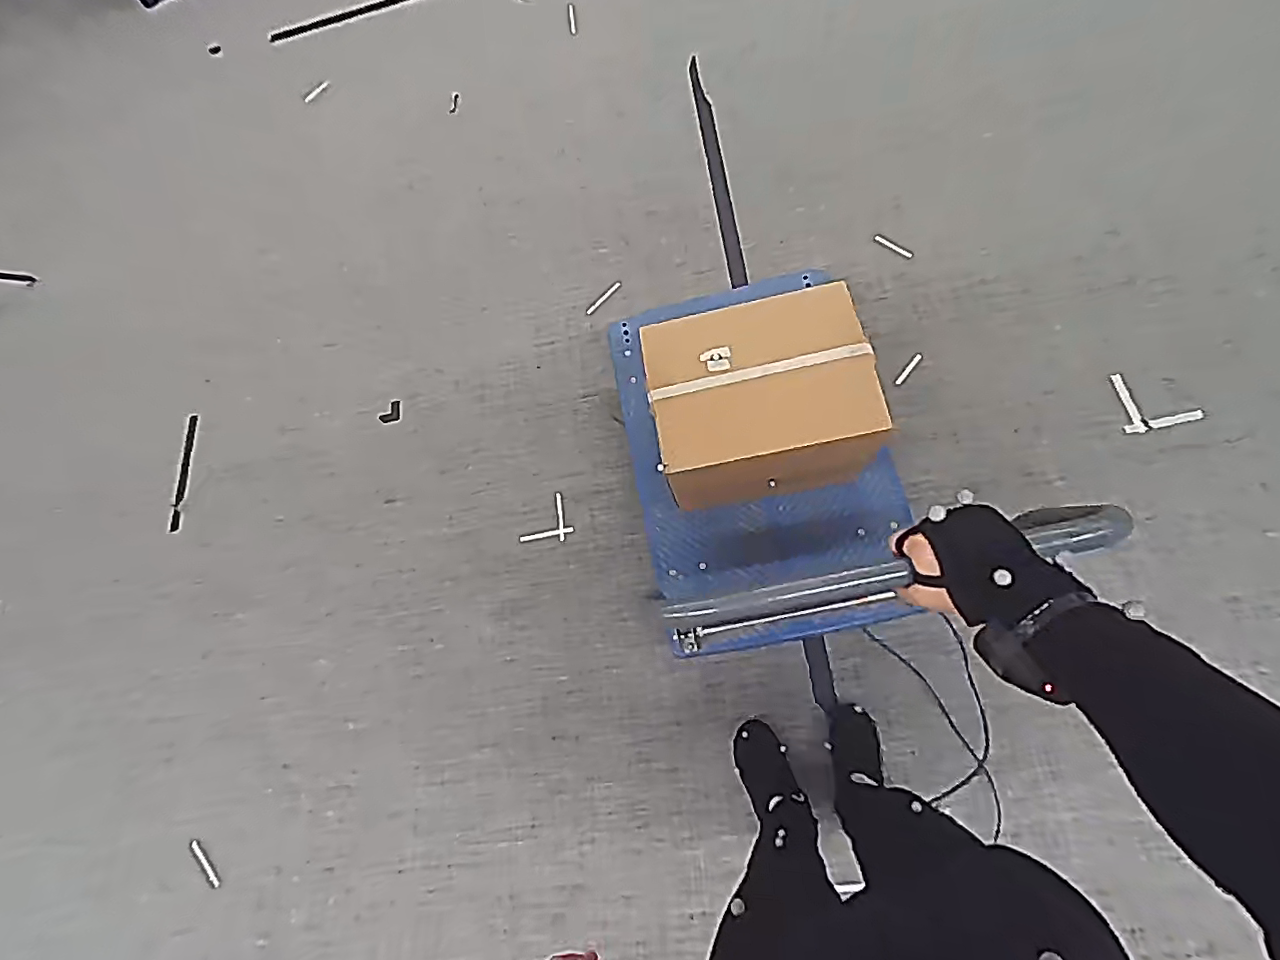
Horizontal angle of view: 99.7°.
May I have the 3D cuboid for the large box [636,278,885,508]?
[{"bbox_3d":[0.236,-0.157,1.137,0.408,0.320,0.320,-12,71,8],"label":"large box"}]
